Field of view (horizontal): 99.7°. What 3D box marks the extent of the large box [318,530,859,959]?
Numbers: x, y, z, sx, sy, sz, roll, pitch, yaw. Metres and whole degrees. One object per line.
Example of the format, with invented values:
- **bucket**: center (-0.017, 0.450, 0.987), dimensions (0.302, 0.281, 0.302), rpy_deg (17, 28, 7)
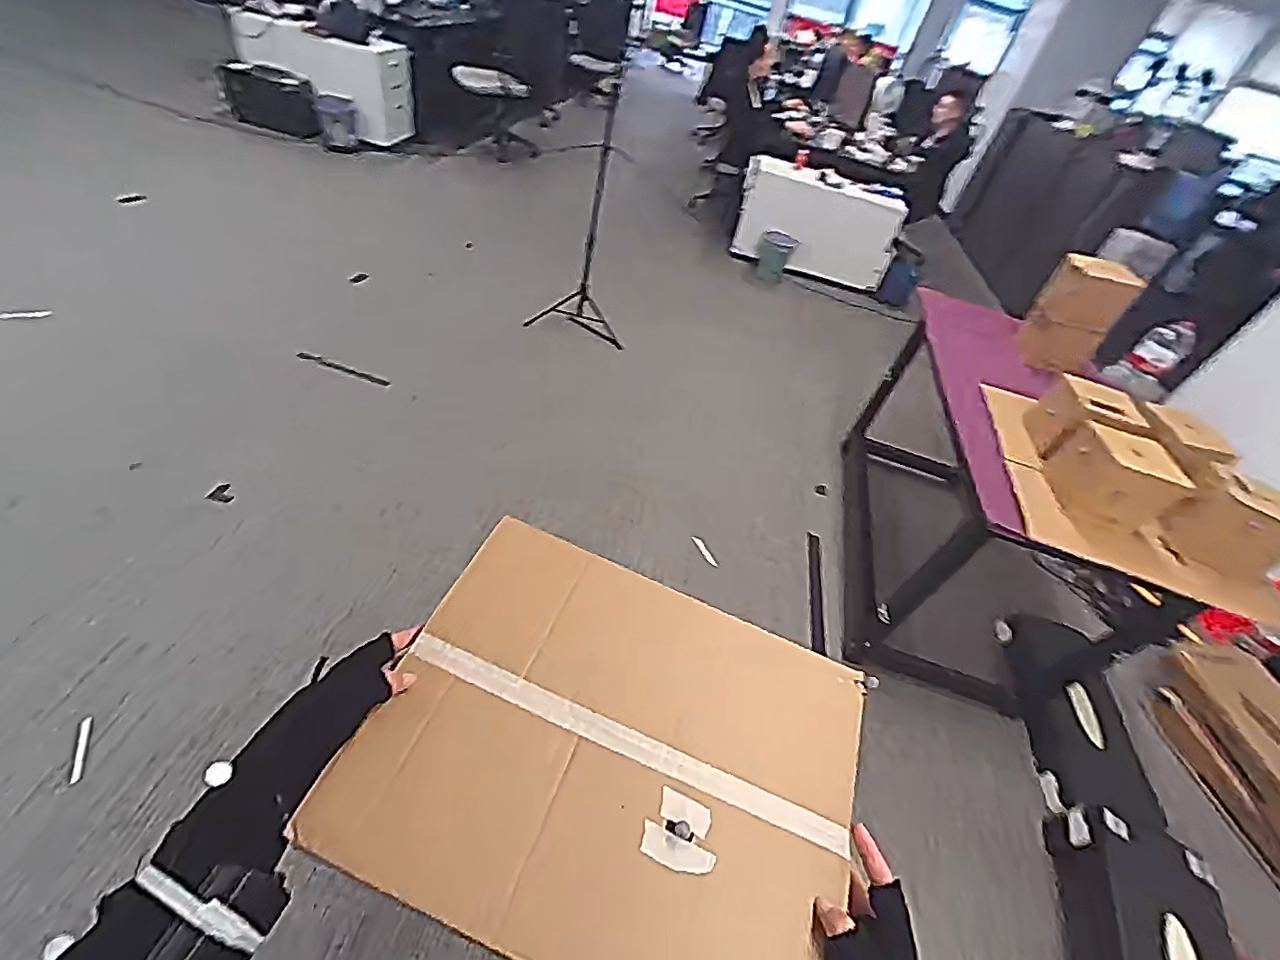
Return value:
- **large box**: center (-0.037, 0.322, 0.589), dimensions (0.408, 0.320, 0.320), rpy_deg (23, 50, 5)
